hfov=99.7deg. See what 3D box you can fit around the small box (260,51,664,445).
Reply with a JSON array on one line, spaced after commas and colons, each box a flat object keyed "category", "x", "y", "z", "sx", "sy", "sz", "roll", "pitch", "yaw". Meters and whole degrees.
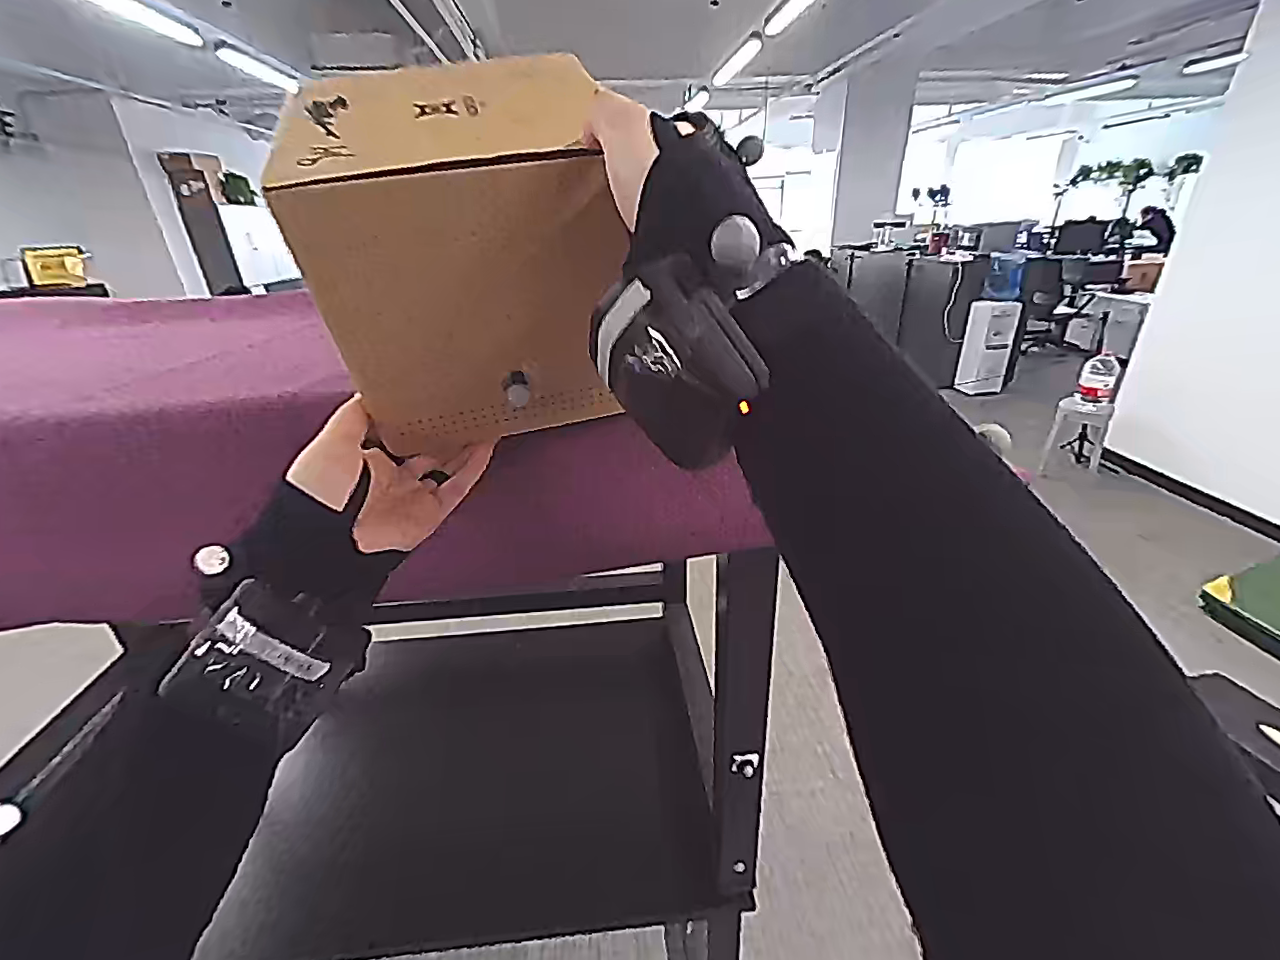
[{"category": "small box", "x": -0.096, "y": -0.146, "z": 0.345, "sx": 0.179, "sy": 0.176, "sz": 0.168, "roll": -13, "pitch": 51, "yaw": -12}]
